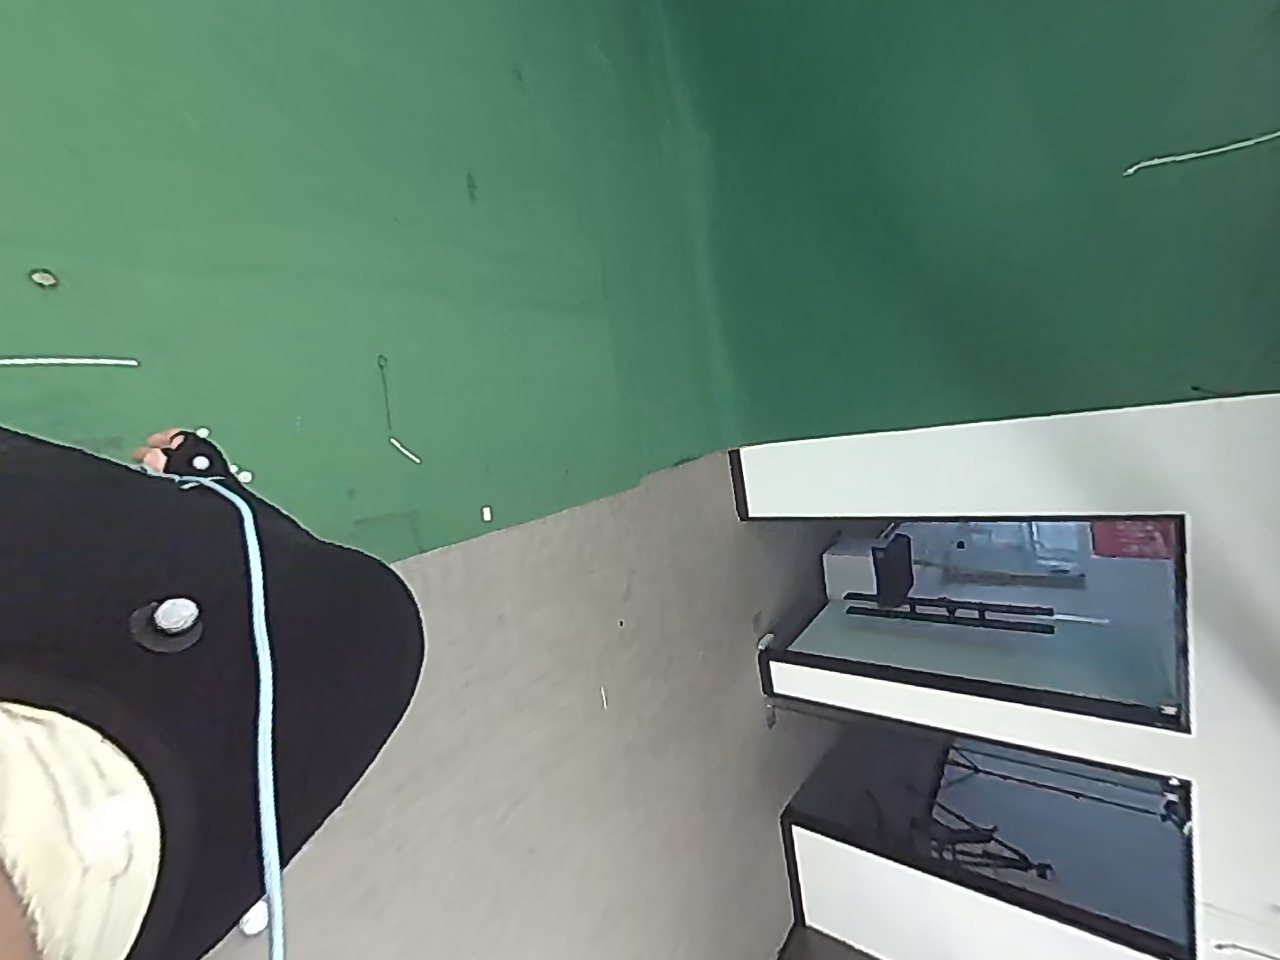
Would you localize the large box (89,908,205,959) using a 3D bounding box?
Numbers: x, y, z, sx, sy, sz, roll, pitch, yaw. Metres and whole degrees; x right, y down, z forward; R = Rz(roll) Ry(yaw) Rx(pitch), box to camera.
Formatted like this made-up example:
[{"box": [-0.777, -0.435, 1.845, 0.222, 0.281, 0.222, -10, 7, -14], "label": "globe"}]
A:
[{"box": [-1.073, 1.178, 1.045, 0.408, 0.320, 0.320, -20, 103, -50], "label": "large box"}]
